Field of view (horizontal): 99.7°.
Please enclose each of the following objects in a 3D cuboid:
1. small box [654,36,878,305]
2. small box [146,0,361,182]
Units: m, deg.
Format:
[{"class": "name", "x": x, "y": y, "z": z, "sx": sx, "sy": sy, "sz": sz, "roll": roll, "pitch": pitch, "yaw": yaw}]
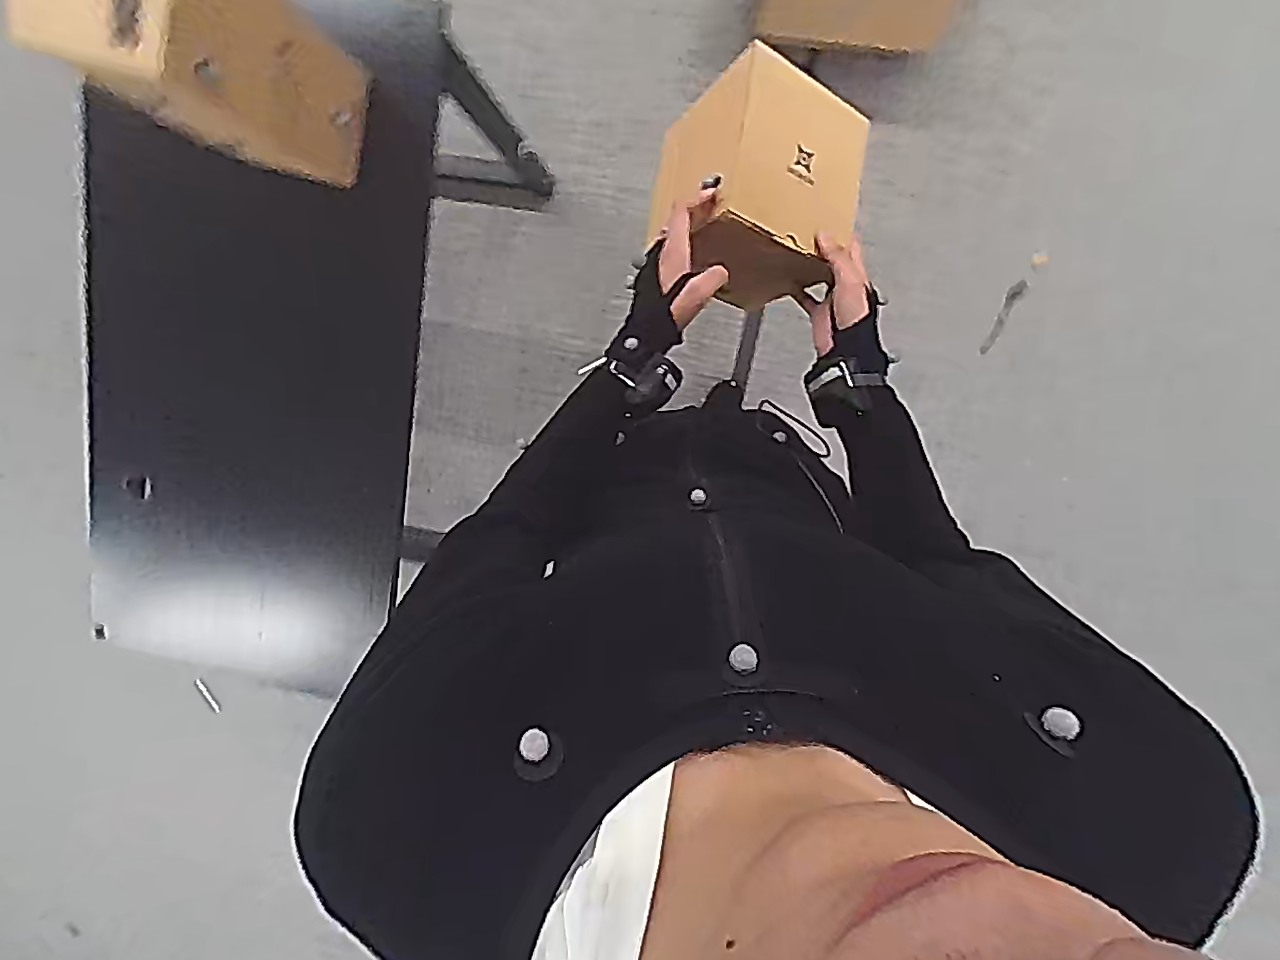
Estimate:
[{"class": "small box", "x": 0.134, "y": -0.322, "z": 0.609, "sx": 0.168, "sy": 0.176, "sz": 0.179, "roll": 12, "pitch": 87, "yaw": -29}, {"class": "small box", "x": -0.535, "y": -0.548, "z": 0.765, "sx": 0.179, "sy": 0.176, "sz": 0.168, "roll": 16, "pitch": 103, "yaw": 3}]
